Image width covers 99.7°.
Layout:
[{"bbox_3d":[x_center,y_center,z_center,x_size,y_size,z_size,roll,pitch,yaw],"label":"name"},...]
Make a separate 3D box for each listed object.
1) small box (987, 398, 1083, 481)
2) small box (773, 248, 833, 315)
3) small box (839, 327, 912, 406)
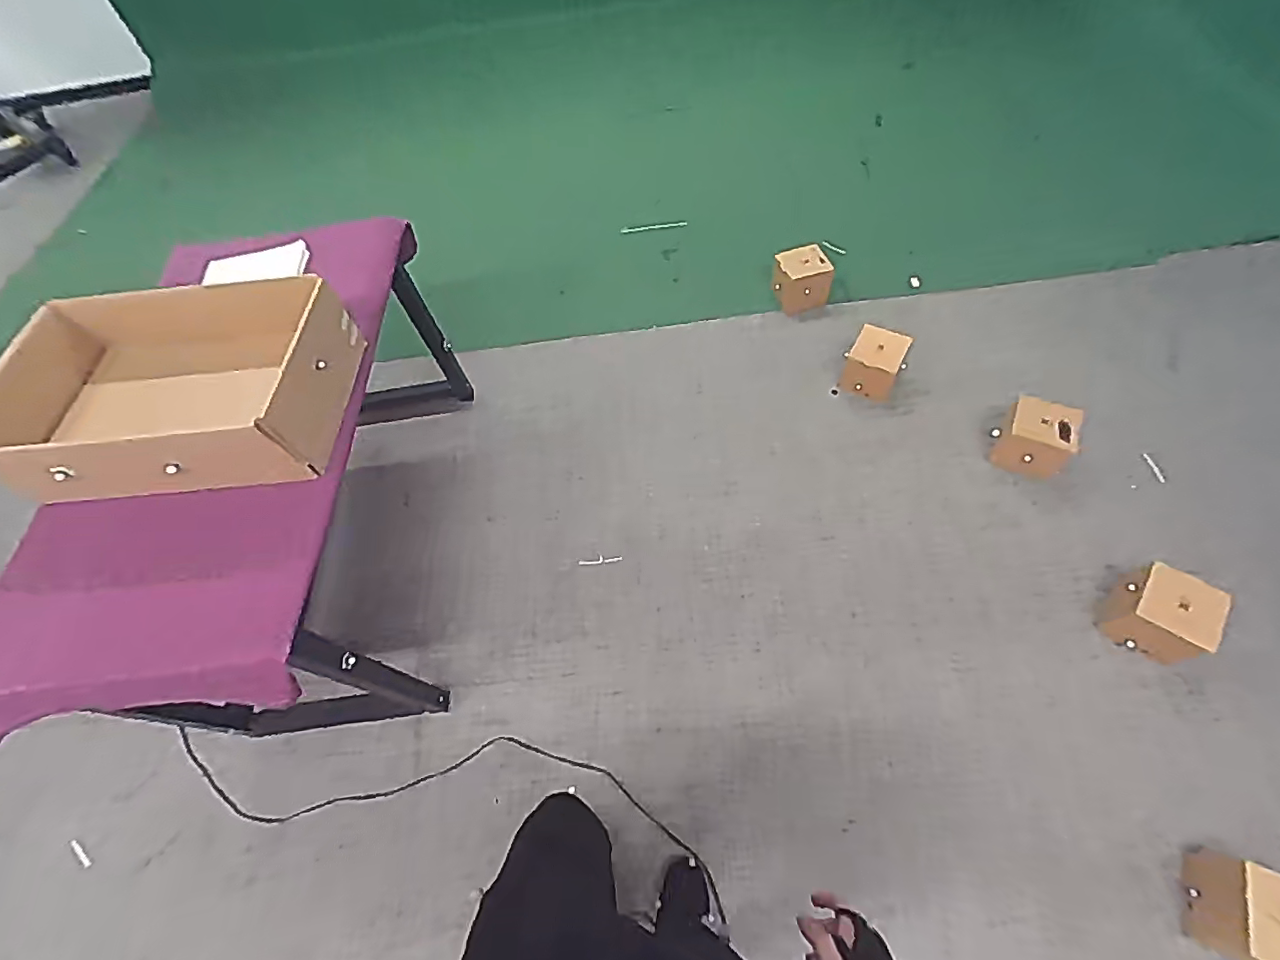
[{"bbox_3d":[1.220,-0.121,1.677,0.179,0.176,0.168,22,64,19],"label":"small box"},{"bbox_3d":[0.637,-0.781,2.145,0.179,0.176,0.168,-16,58,-3],"label":"small box"},{"bbox_3d":[0.818,-0.395,1.892,0.168,0.176,0.179,25,66,20],"label":"small box"}]
